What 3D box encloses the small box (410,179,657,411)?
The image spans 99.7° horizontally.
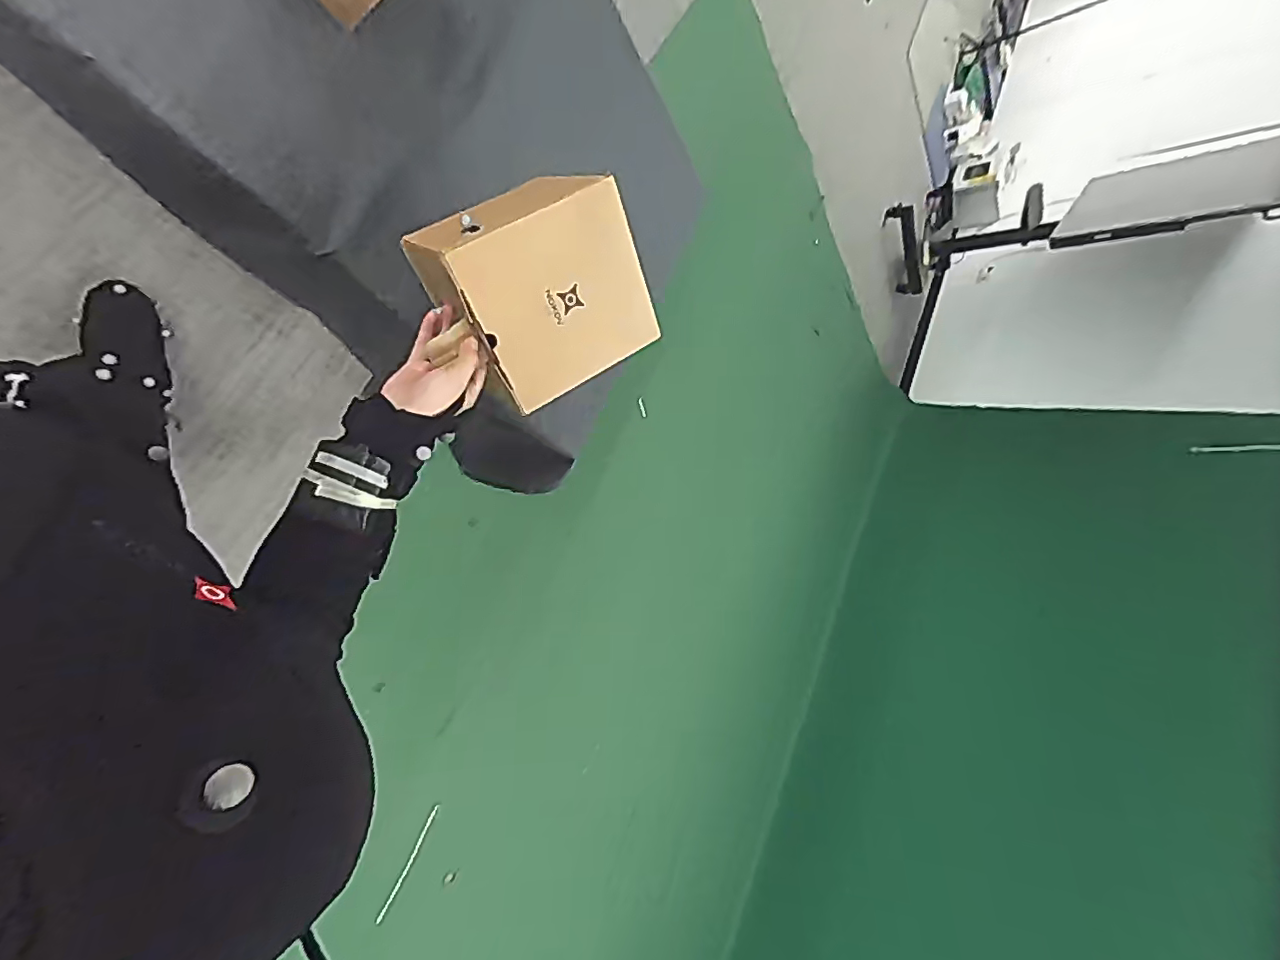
[{"bbox_3d":[-0.114,-0.206,0.578,0.179,0.176,0.168,-34,130,-16],"label":"small box"}]
